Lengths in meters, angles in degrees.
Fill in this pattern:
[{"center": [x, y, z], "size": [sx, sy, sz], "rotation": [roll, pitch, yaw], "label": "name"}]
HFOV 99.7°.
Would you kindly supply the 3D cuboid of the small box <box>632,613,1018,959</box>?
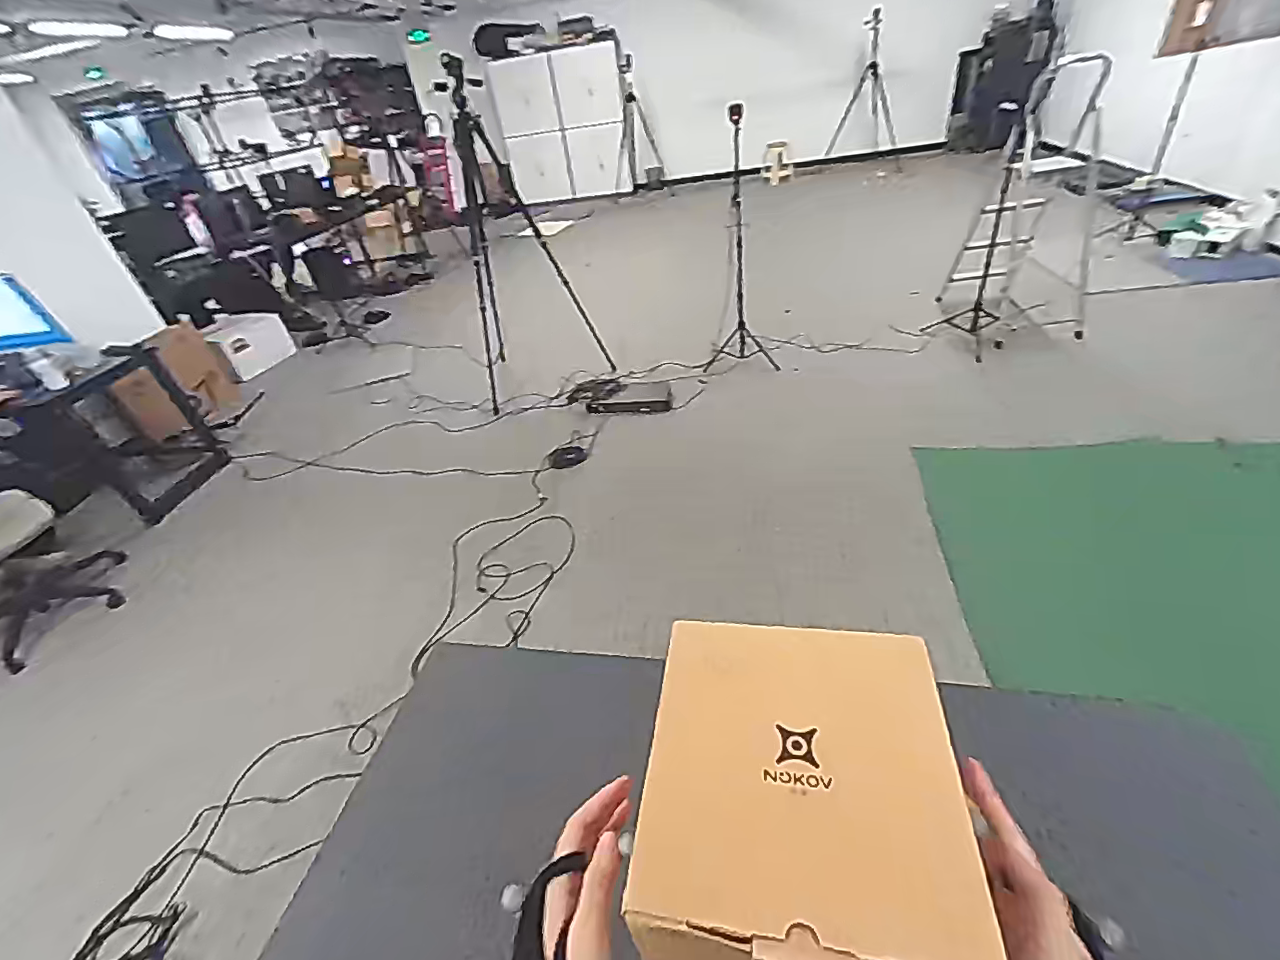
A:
[{"center": [0.099, 0.211, 0.347], "size": [0.168, 0.176, 0.179], "rotation": [0, 37, 13], "label": "small box"}]
